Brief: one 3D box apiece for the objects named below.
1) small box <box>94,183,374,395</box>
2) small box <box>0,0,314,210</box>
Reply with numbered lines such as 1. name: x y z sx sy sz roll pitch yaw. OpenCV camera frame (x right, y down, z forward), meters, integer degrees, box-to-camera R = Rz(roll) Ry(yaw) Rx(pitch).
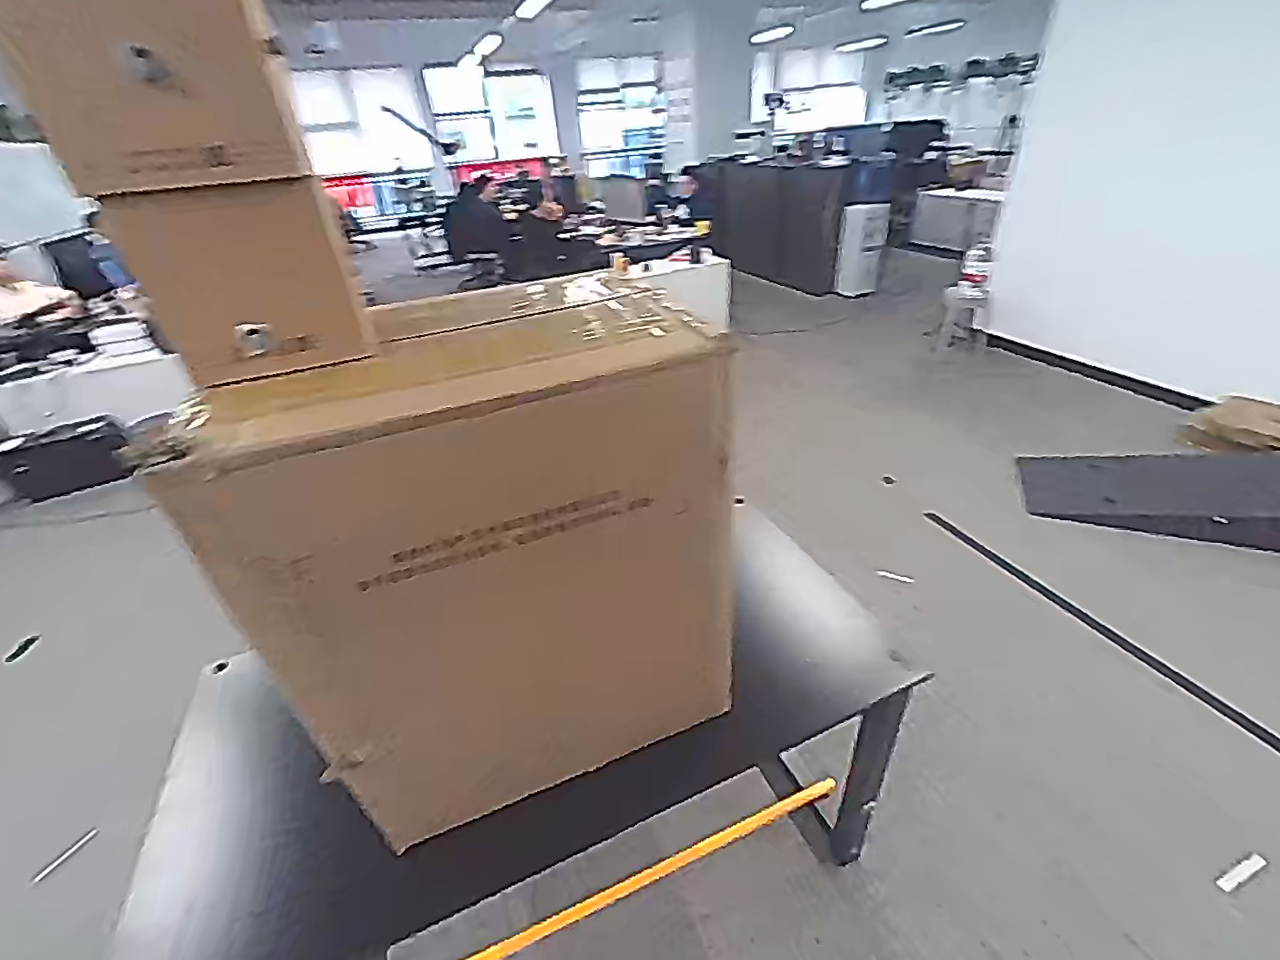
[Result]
1. small box: -0.395 -0.205 0.565 0.168 0.176 0.179 -19 35 -20
2. small box: -0.404 -0.336 0.465 0.168 0.176 0.179 -18 35 -19
